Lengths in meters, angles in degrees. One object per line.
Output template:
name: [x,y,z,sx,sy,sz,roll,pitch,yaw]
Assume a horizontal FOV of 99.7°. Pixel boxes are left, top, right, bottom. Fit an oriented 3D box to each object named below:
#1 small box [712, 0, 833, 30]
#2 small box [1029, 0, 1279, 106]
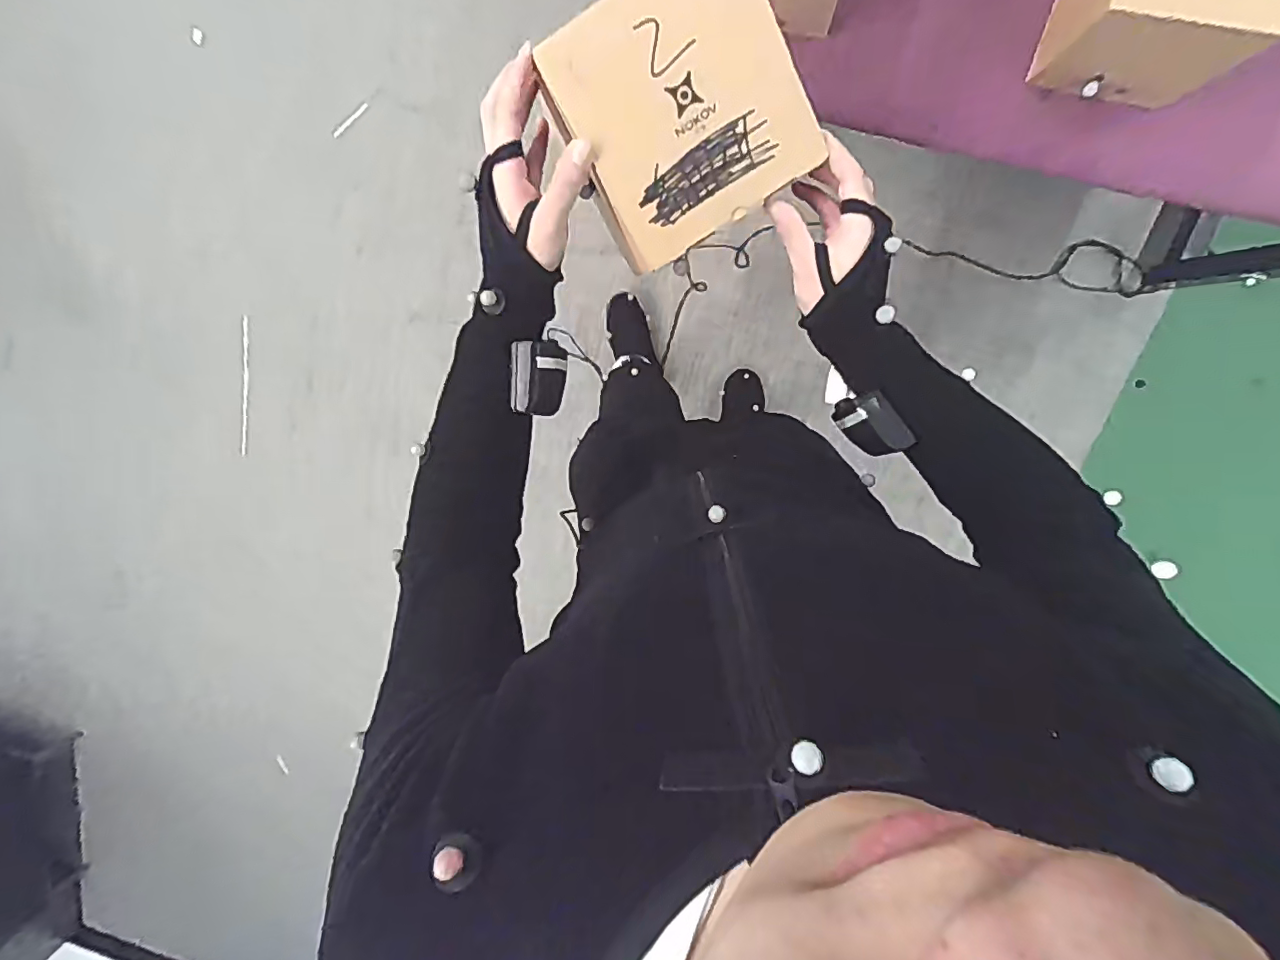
small box: [0.167,-0.663,0.614,0.168,0.176,0.179,16,106,6]
small box: [0.564,-0.543,0.575,0.168,0.176,0.179,16,107,7]
